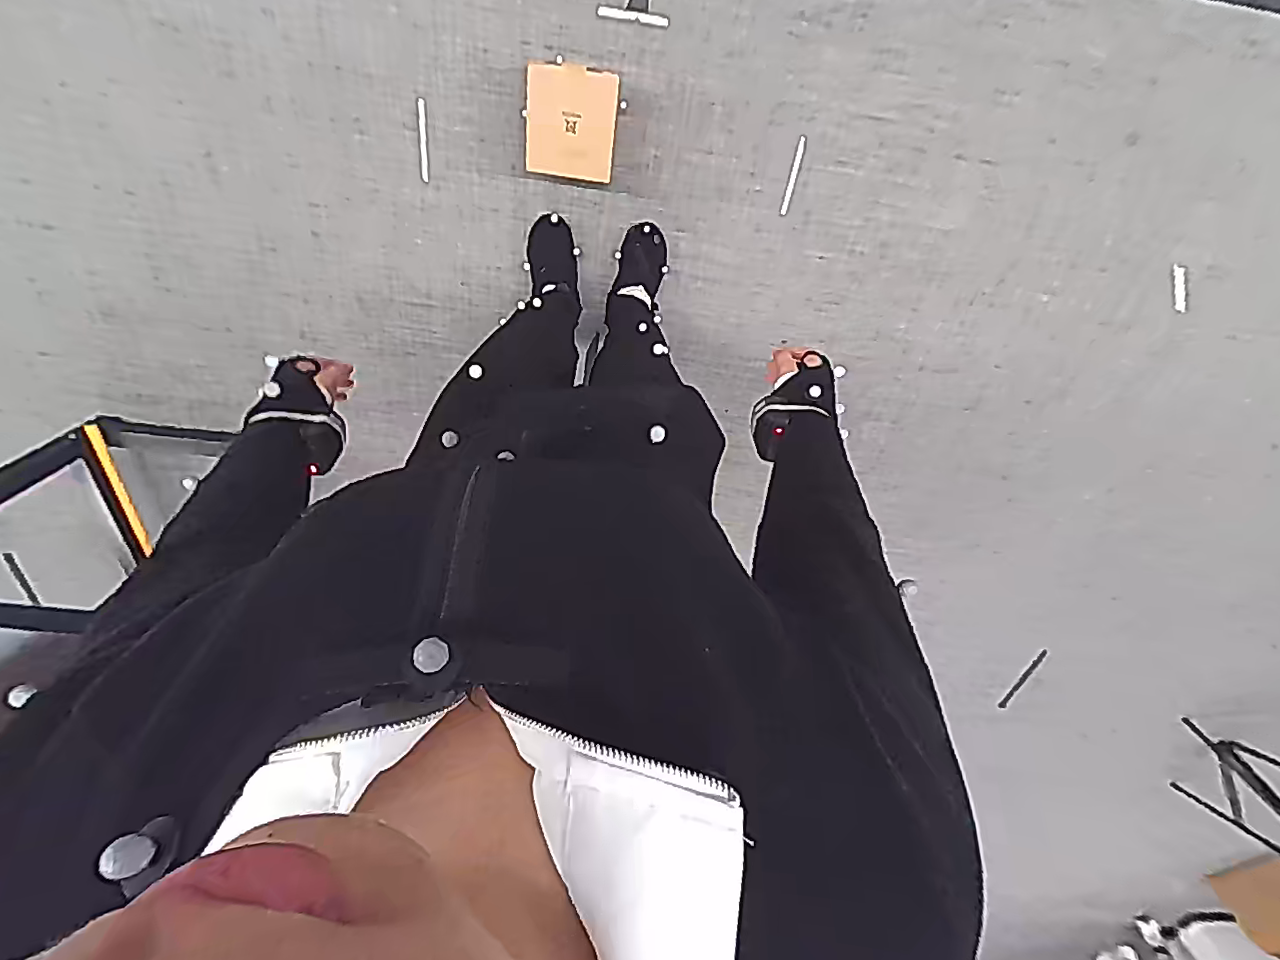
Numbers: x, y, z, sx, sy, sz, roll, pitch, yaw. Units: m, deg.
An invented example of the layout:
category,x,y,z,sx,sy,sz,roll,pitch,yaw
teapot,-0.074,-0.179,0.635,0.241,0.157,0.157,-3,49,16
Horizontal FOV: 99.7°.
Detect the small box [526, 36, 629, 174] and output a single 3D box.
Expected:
category,x,y,z,sx,sy,sz,roll,pitch,yaw
small box,-0.111,-0.674,0.981,0.168,0.176,0.179,6,125,-4
